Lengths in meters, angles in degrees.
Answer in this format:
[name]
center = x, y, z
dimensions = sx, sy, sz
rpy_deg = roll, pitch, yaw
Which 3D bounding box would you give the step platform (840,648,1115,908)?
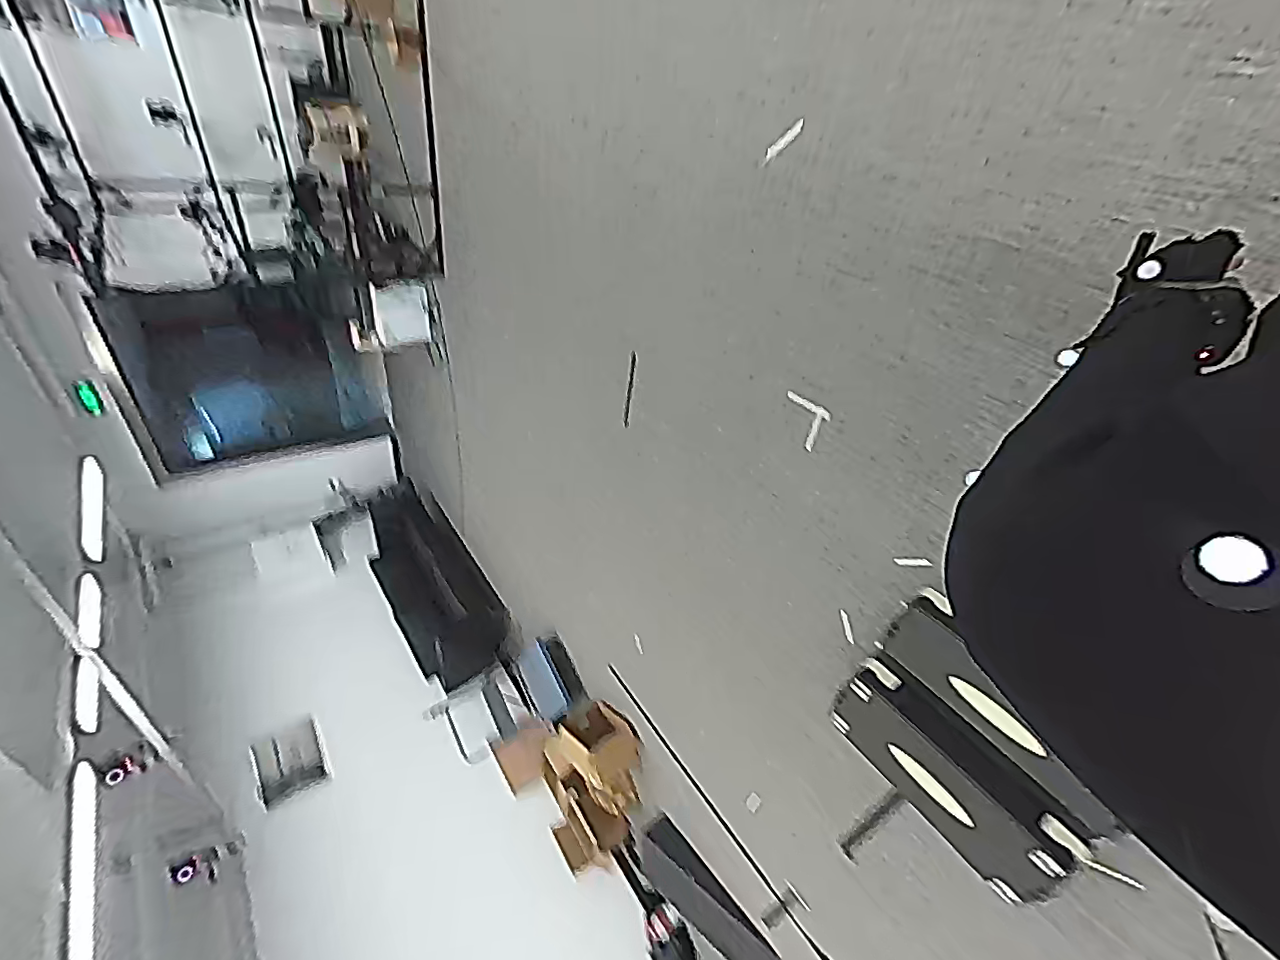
[step platform]
center = 0.934, 0.843, 1.589
dimensions = 0.684, 0.204, 0.286
rpy_deg = 44, 138, 38
